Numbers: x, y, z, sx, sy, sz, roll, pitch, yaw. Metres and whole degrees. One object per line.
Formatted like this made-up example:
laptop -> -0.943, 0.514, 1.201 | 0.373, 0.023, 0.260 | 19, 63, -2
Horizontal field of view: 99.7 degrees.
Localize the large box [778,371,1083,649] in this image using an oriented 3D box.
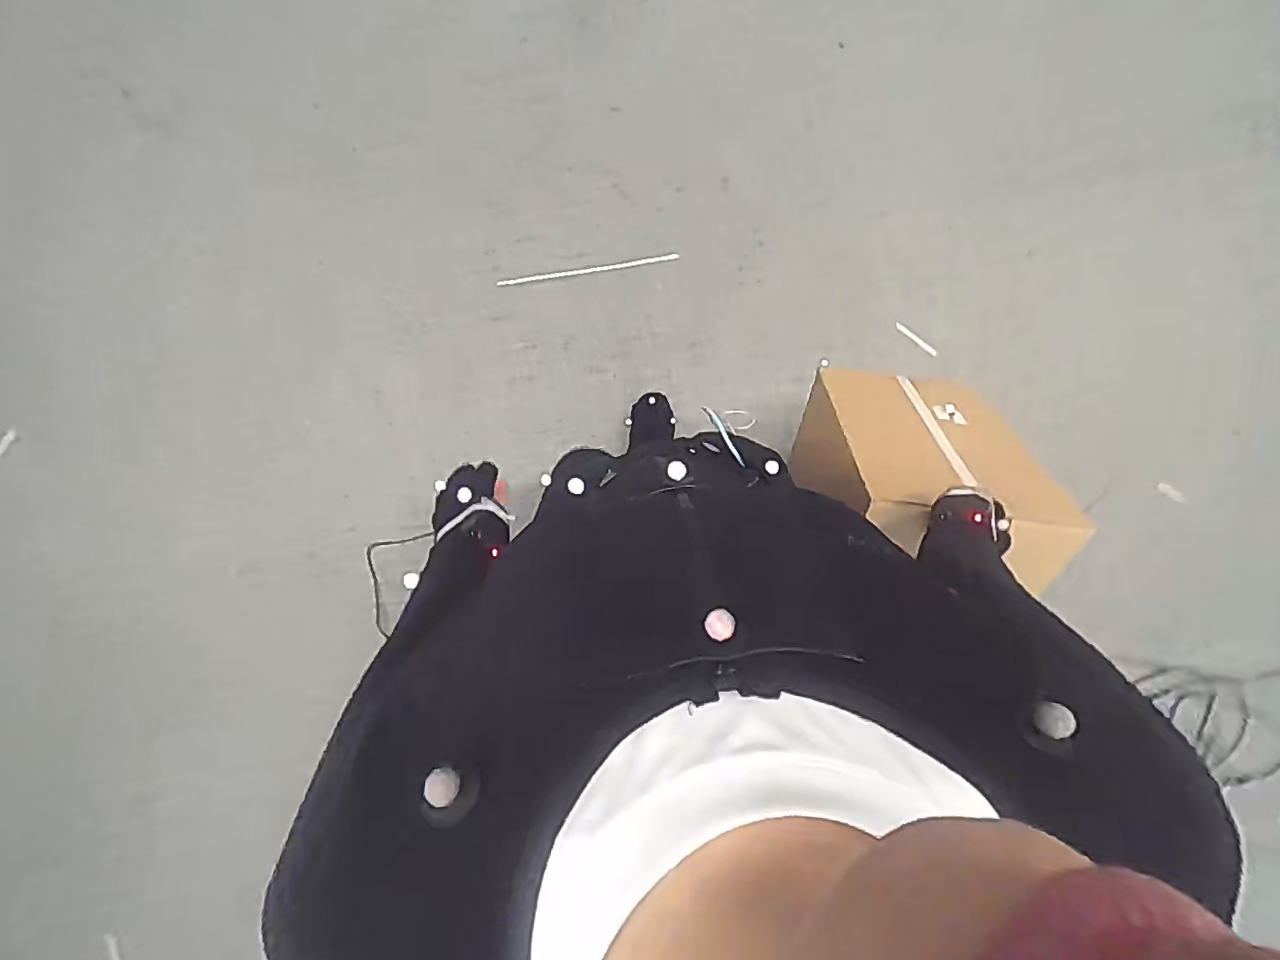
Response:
large box -> 0.463, 0.043, 0.991 | 0.320, 0.408, 0.320 | 9, 127, -1
